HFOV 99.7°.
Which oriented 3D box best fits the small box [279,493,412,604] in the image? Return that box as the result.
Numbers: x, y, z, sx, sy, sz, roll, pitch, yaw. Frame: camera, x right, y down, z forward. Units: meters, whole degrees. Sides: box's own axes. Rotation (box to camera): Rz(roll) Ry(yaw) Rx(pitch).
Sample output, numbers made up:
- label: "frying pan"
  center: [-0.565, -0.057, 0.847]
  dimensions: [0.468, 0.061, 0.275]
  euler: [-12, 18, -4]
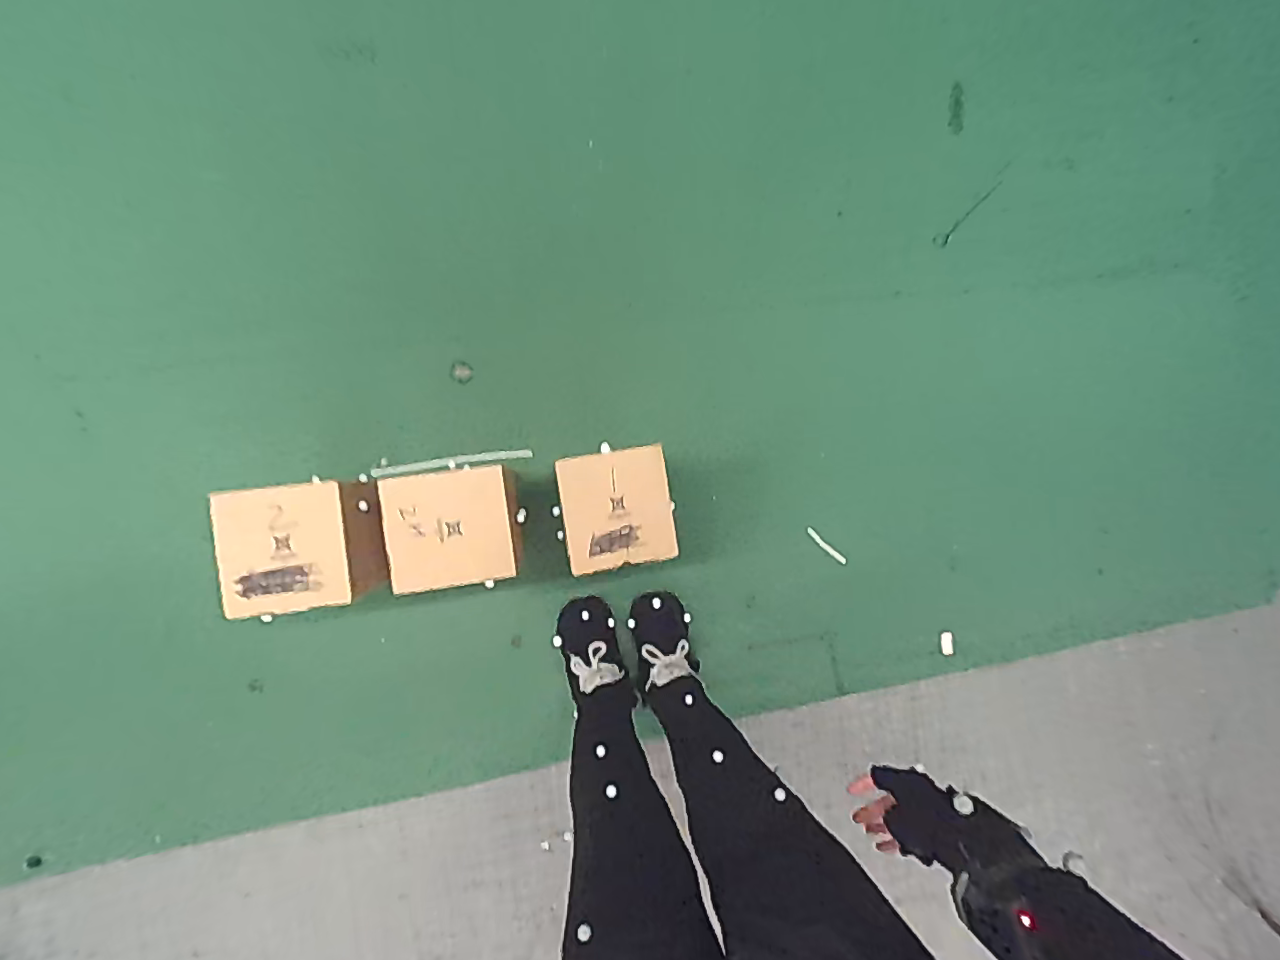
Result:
- label: "small box"
  center: [-0.532, 0.118, 0.999]
  dimensions: [0.168, 0.176, 0.179]
  euler: [-4, 90, -8]

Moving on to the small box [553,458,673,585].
- label: "small box"
  center: [-0.049, 0.062, 0.901]
  dimensions: [0.168, 0.176, 0.179]
  euler: [-9, 91, -9]
